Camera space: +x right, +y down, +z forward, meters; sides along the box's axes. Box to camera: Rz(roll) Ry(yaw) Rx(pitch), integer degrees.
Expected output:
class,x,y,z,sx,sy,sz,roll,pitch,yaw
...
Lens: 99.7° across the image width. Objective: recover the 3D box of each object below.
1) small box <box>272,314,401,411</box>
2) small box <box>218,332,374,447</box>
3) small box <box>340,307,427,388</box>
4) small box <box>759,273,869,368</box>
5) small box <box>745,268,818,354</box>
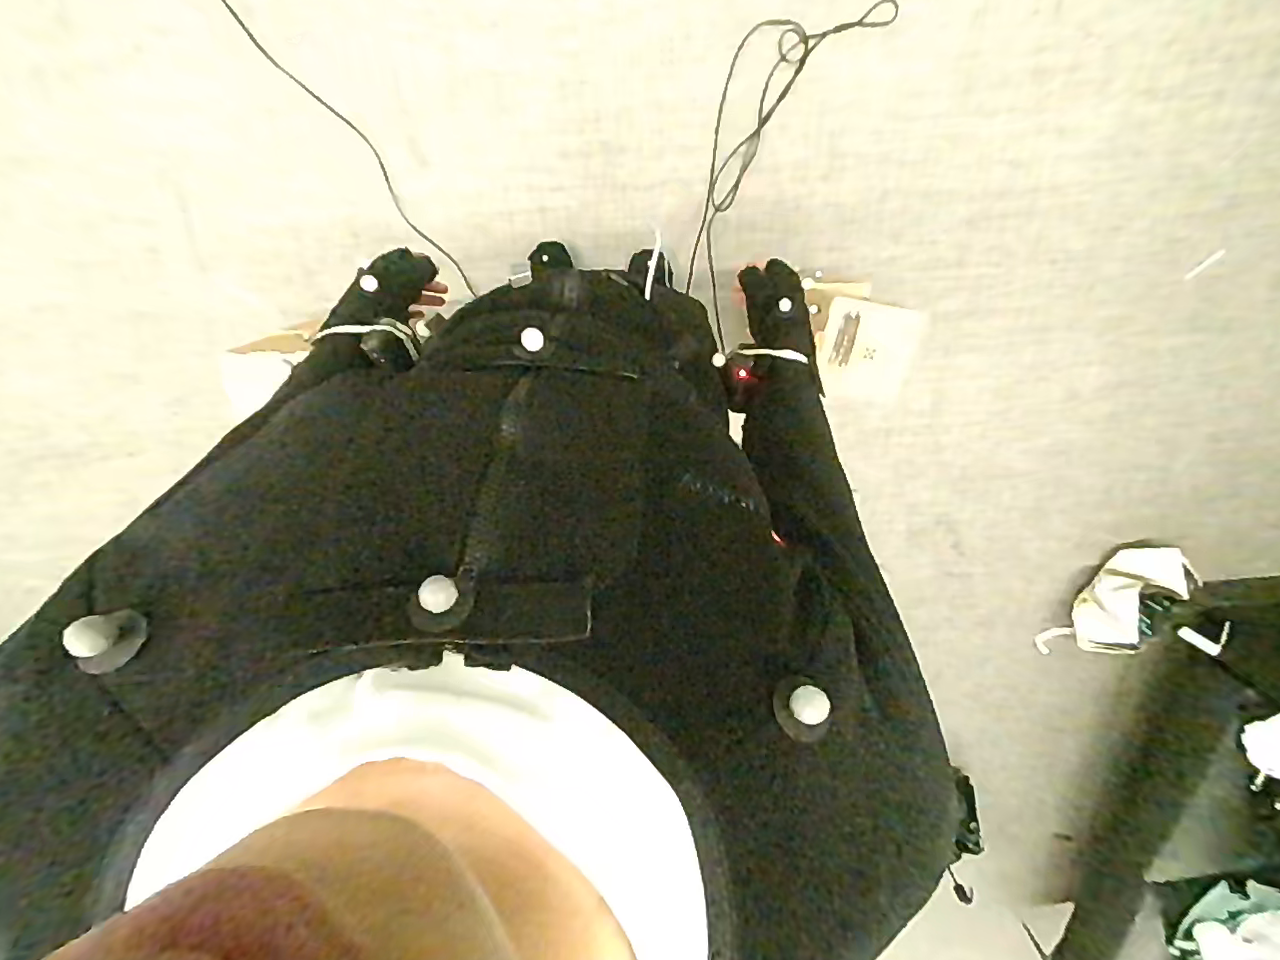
class,x,y,z,sx,sy,sz,roll,pitch,yaw
small box,-0.628,-0.250,1.148,0.168,0.176,0.179,-1,115,-2
small box,-0.622,-0.172,1.006,0.168,0.176,0.179,-1,115,-1
small box,-0.627,-0.320,1.298,0.179,0.176,0.168,-2,115,-2
small box,0.361,-0.345,1.158,0.168,0.176,0.179,-1,116,-3
small box,0.356,-0.404,1.293,0.168,0.176,0.179,2,115,-4
